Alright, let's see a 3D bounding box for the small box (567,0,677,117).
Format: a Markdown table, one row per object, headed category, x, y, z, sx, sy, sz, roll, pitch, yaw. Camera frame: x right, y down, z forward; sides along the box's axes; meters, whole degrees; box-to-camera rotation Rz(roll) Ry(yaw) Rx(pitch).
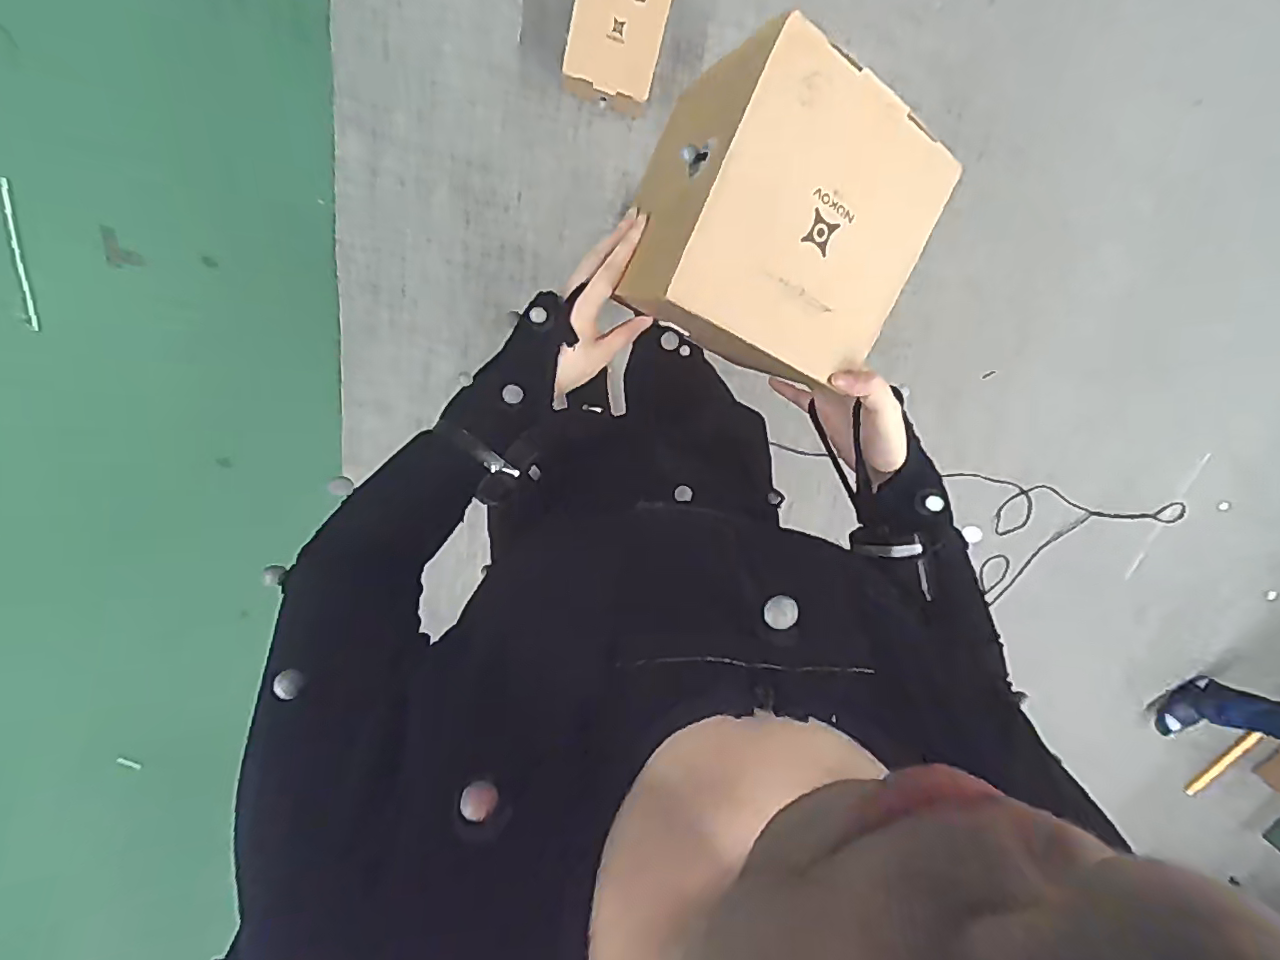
| category | x | y | z | sx | sy | sz | roll | pitch | yaw |
| --- | --- | --- | --- | --- | --- | --- | --- | --- | --- |
| small box | -0.038 | -0.833 | 1.044 | 0.168 | 0.176 | 0.179 | 13 | 114 | -10 |
